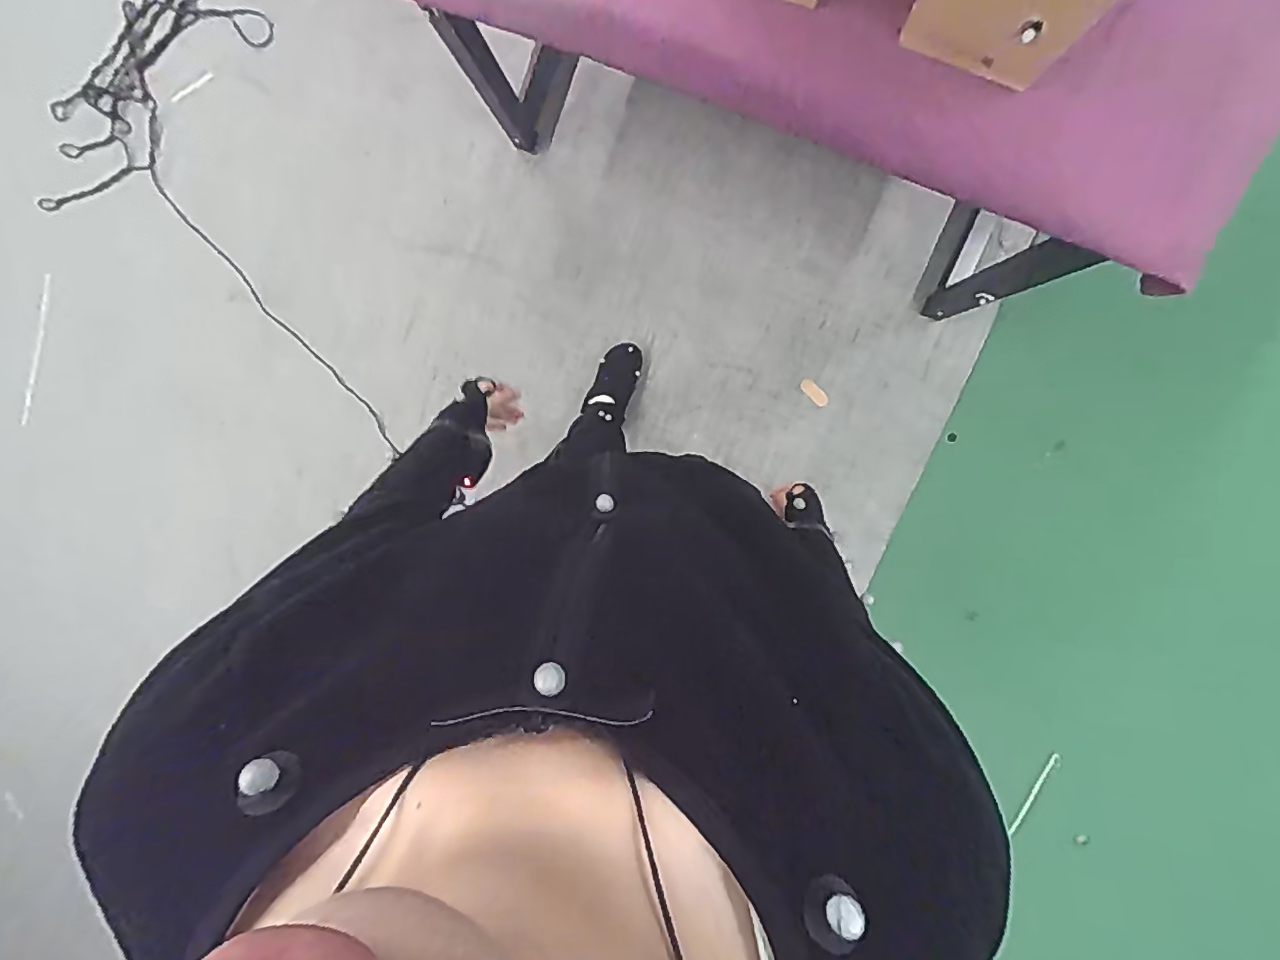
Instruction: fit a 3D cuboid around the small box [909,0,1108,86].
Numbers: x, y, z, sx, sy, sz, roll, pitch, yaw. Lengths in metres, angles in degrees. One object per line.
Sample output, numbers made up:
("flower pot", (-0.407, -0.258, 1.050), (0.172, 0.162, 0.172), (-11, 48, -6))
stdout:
("small box", (0.415, -0.569, 0.567), (0.168, 0.176, 0.179), (23, 98, 1))
